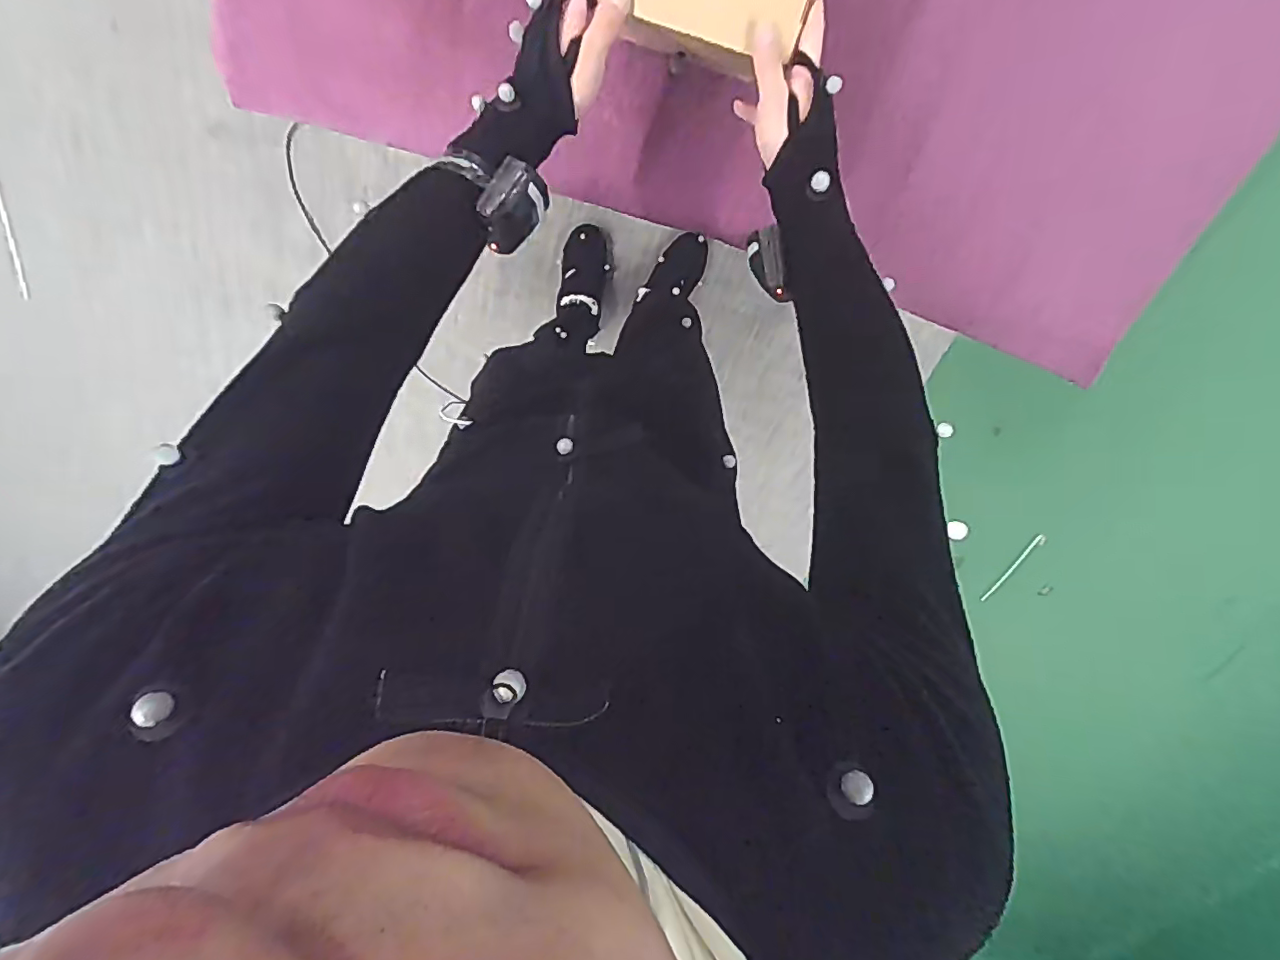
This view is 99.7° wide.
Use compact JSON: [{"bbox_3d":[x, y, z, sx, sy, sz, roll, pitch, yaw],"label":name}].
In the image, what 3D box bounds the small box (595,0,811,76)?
[{"bbox_3d":[0.062,-0.486,0.485,0.179,0.176,0.168,11,122,-10],"label":"small box"}]
